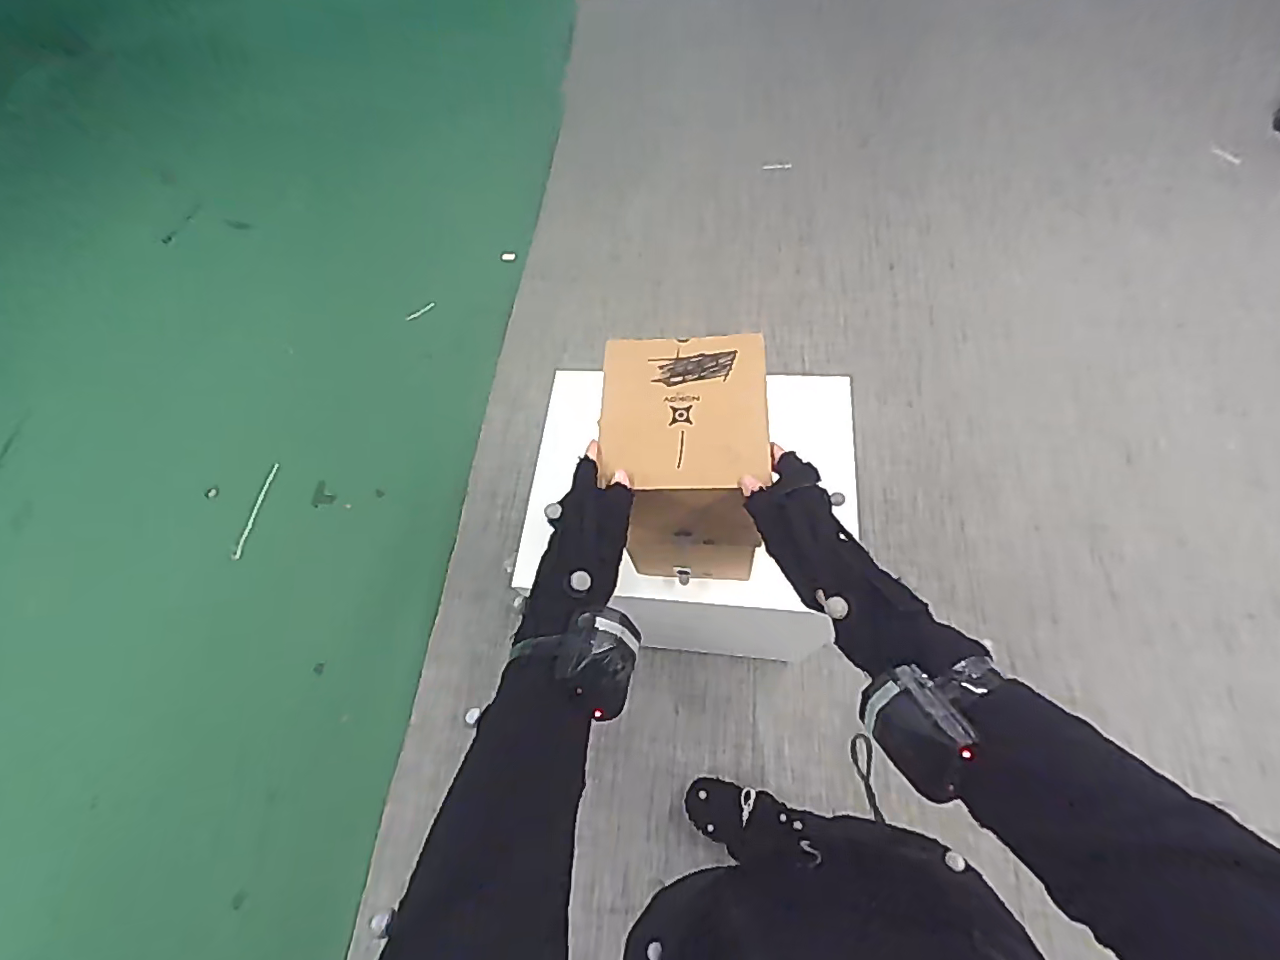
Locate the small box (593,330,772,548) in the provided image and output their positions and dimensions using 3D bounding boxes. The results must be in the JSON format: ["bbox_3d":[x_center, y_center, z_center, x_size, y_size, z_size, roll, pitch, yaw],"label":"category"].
[{"bbox_3d":[0.050,-0.037,0.598,0.168,0.176,0.179,-4,63,8],"label":"small box"}]

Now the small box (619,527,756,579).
[{"bbox_3d":[0.072,0.028,0.748,0.168,0.176,0.179,0,66,10],"label":"small box"}]
